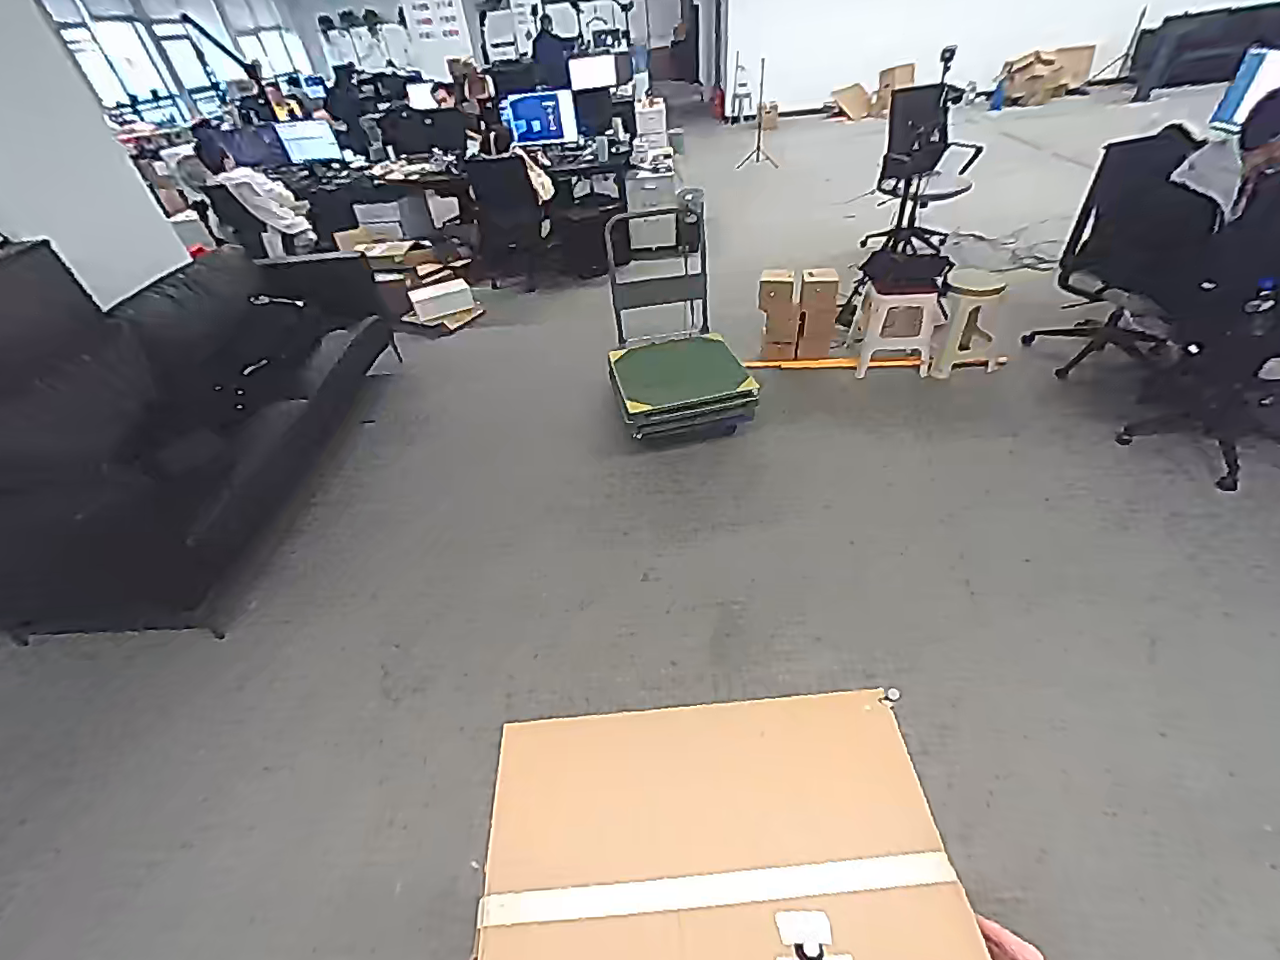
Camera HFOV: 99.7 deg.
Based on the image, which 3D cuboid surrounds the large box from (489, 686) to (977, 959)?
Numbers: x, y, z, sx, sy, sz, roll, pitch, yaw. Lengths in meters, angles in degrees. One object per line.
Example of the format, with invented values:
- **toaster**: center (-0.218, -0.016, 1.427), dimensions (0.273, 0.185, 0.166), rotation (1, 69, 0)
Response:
- **large box**: center (0.076, 0.456, 0.584), dimensions (0.408, 0.320, 0.320), rotation (-6, 46, 0)
